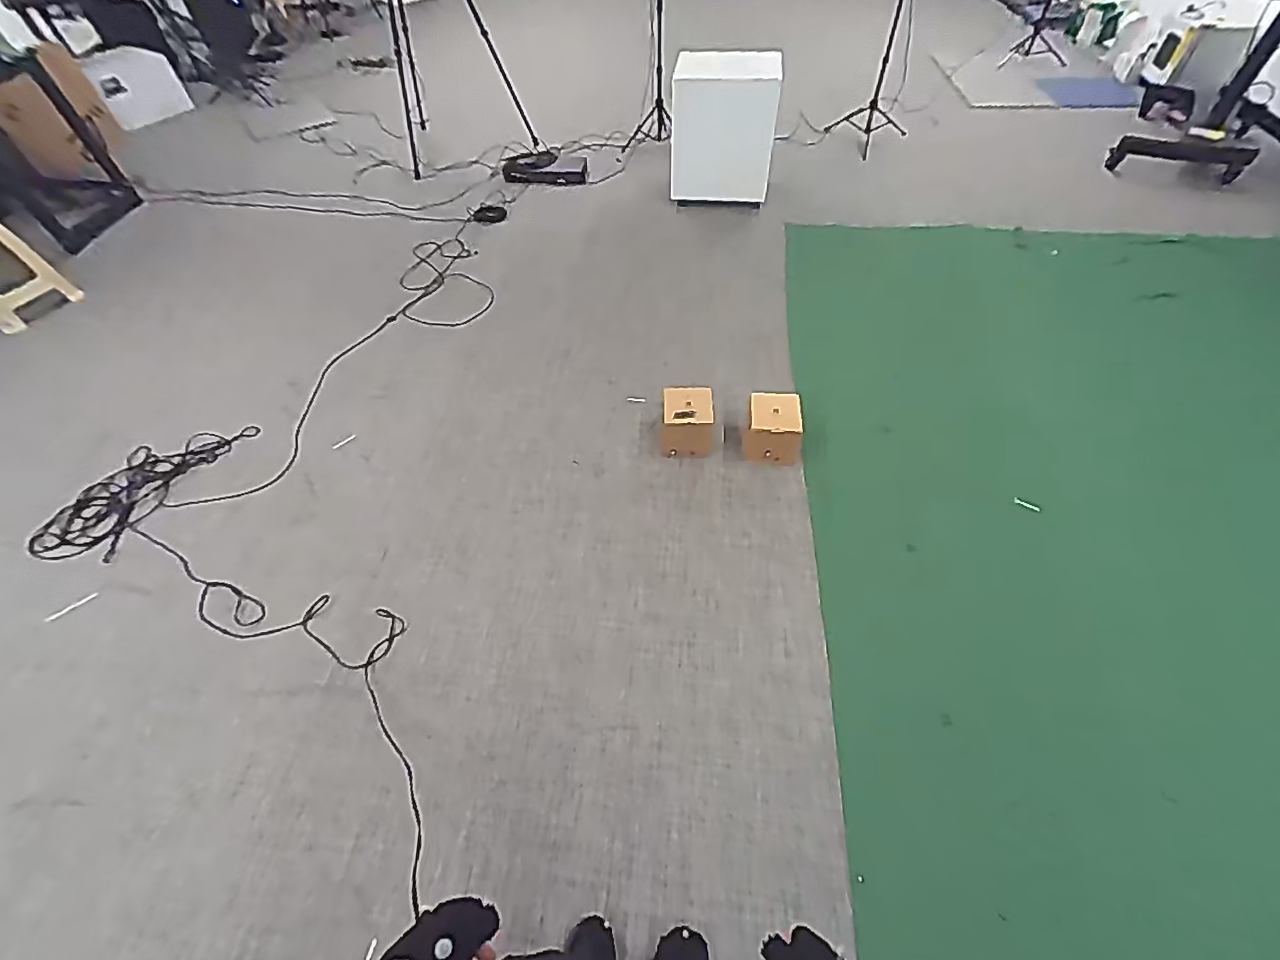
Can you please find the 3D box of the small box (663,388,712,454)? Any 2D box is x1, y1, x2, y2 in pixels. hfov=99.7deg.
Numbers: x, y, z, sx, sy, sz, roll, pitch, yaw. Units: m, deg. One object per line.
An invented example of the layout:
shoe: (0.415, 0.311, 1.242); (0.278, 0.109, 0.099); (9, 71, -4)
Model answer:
small box: (0.165, -0.204, 1.901); (0.168, 0.176, 0.179); (1, 52, 2)

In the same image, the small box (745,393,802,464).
small box: (0.456, -0.179, 1.875); (0.168, 0.176, 0.179); (3, 53, 5)
